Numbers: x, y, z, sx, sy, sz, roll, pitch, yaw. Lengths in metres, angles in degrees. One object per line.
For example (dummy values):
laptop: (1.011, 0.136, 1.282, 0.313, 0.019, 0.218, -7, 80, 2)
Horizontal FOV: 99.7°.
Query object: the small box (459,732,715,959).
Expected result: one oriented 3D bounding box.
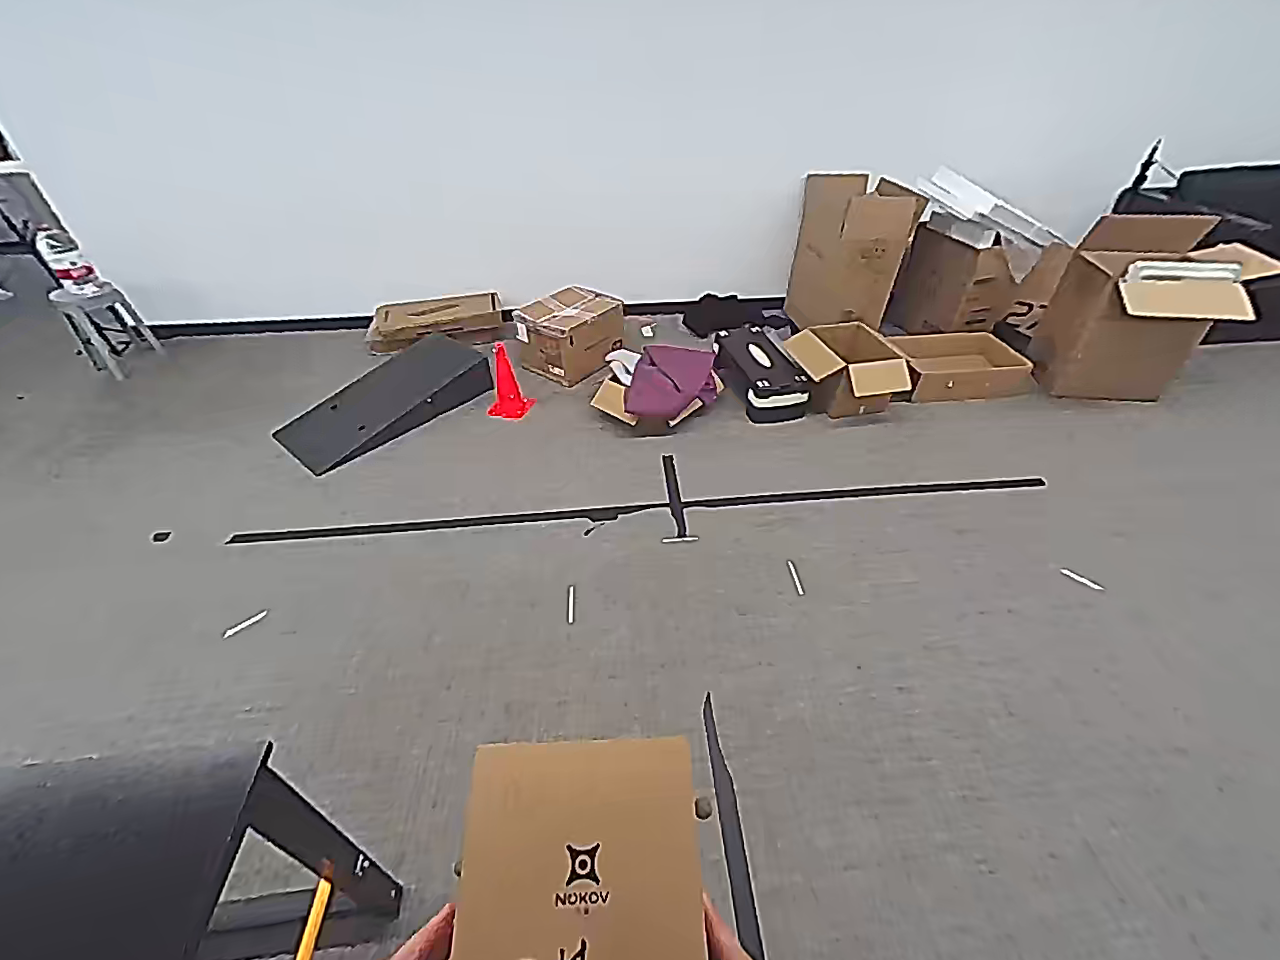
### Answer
small box: (-0.037, 0.318, 0.435, 0.168, 0.176, 0.179, -2, 53, -2)
